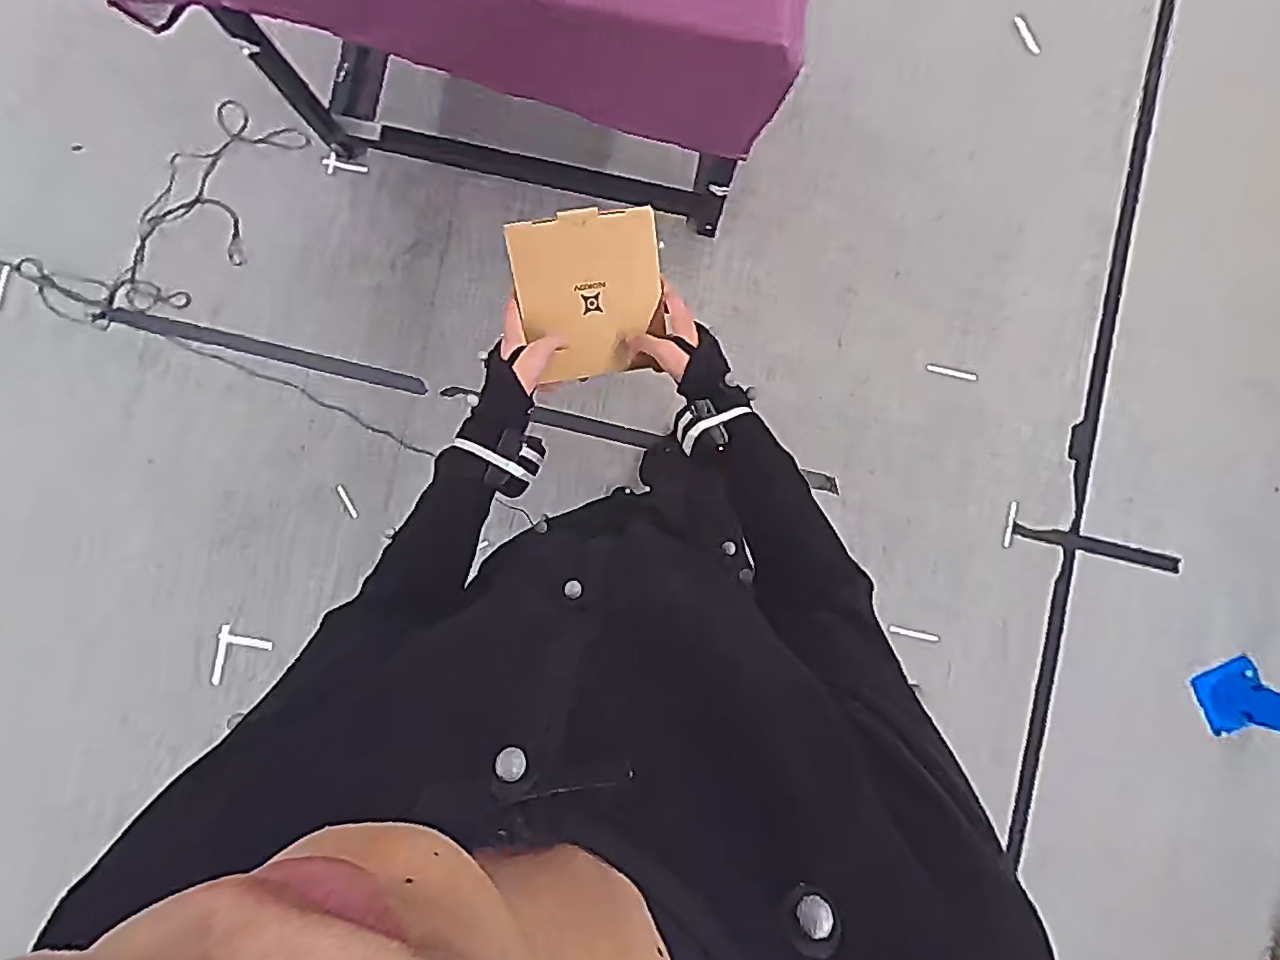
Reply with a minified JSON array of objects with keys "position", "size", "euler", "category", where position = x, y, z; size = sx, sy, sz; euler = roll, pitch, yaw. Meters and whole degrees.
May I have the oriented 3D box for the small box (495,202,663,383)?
[{"position":[-0.072,-0.232,0.682],"size":[0.168,0.176,0.179],"euler":[-11,109,-5],"category":"small box"}]
